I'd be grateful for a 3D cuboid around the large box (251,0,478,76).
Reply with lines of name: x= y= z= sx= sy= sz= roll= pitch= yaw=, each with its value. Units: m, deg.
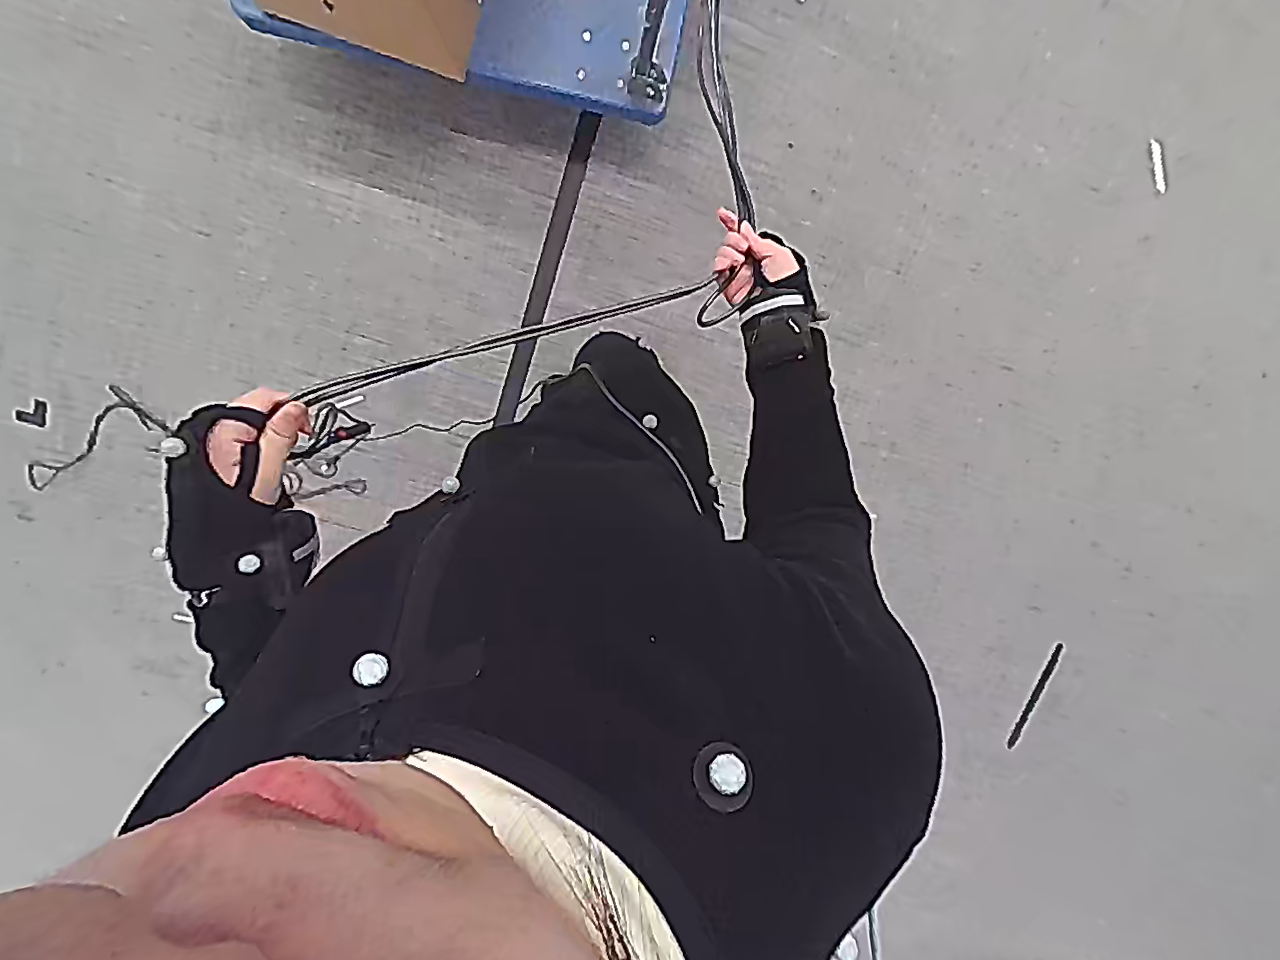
large box: x=-0.493 y=-0.960 z=0.888 sx=0.408 sy=0.320 sz=0.320 roll=15 pitch=101 yaw=-7
